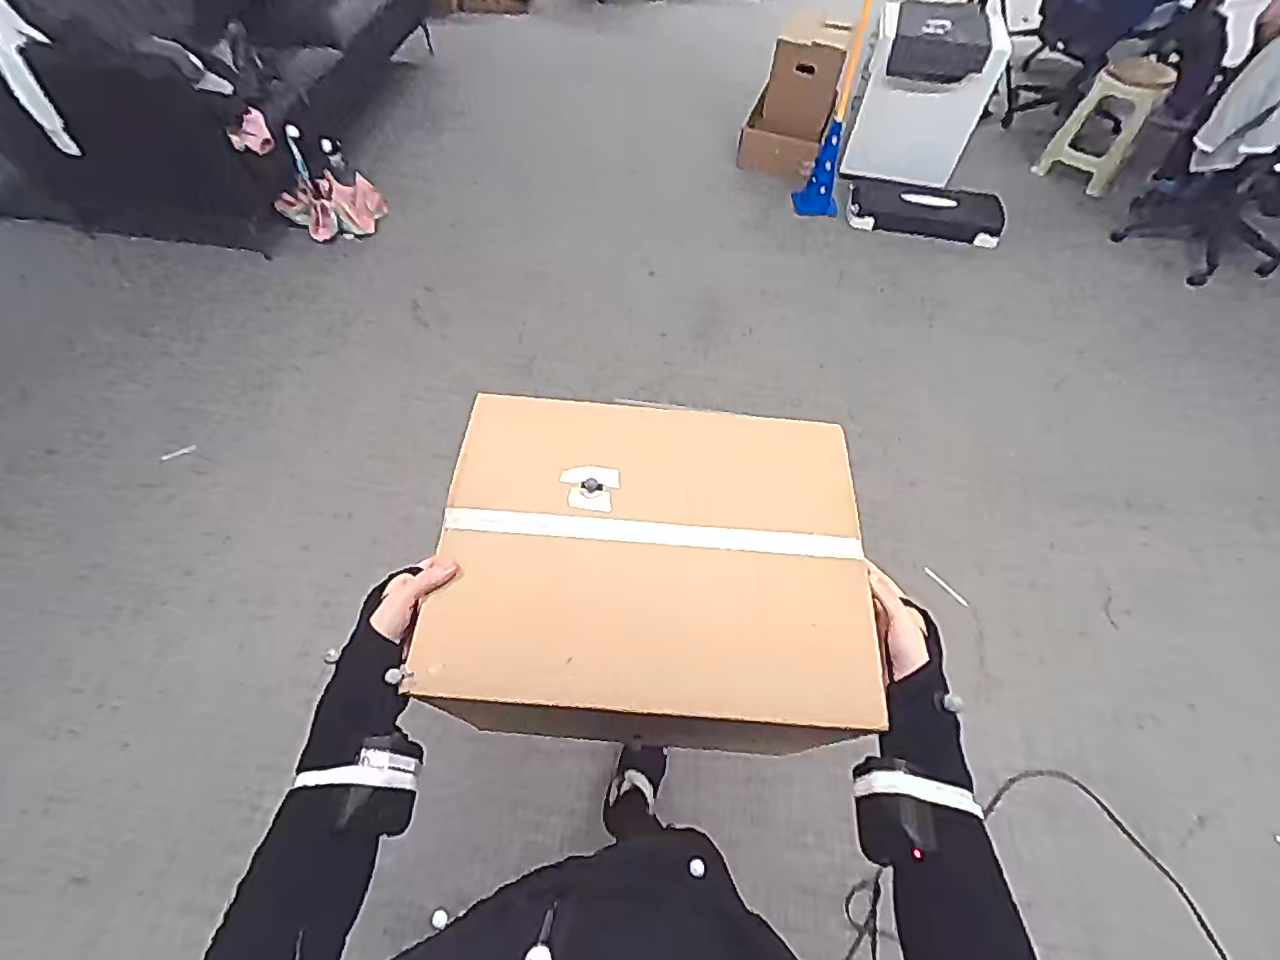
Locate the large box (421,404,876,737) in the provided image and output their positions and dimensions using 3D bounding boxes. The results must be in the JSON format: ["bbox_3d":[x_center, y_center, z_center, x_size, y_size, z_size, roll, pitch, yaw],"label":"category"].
[{"bbox_3d":[0.012,0.131,0.668,0.408,0.320,0.320,4,59,0],"label":"large box"}]
